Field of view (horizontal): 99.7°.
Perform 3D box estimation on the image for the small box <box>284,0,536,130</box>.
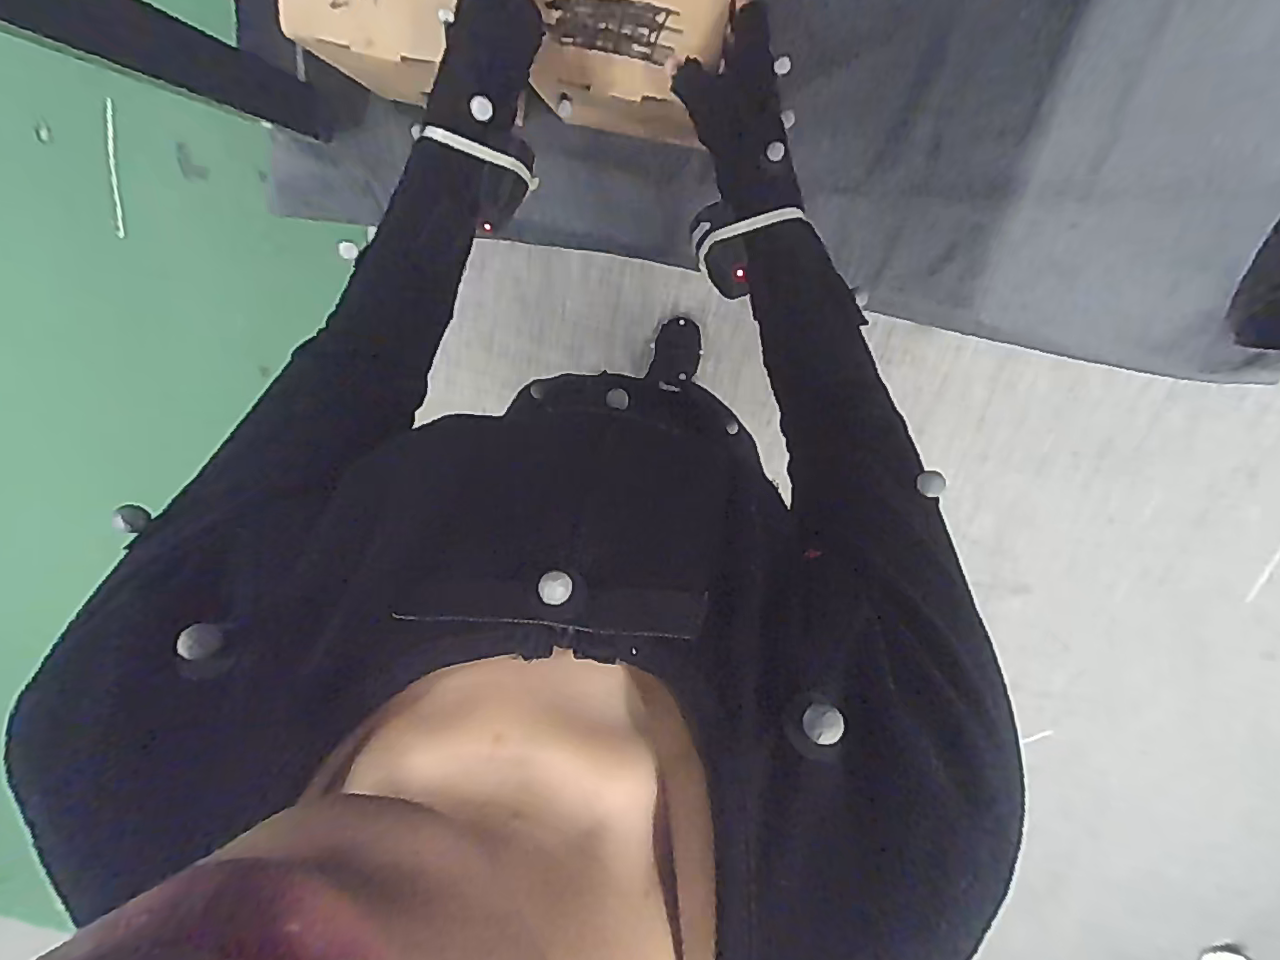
[{"bbox_3d":[-0.201,-0.464,0.509,0.168,0.176,0.179,11,110,1],"label":"small box"}]
